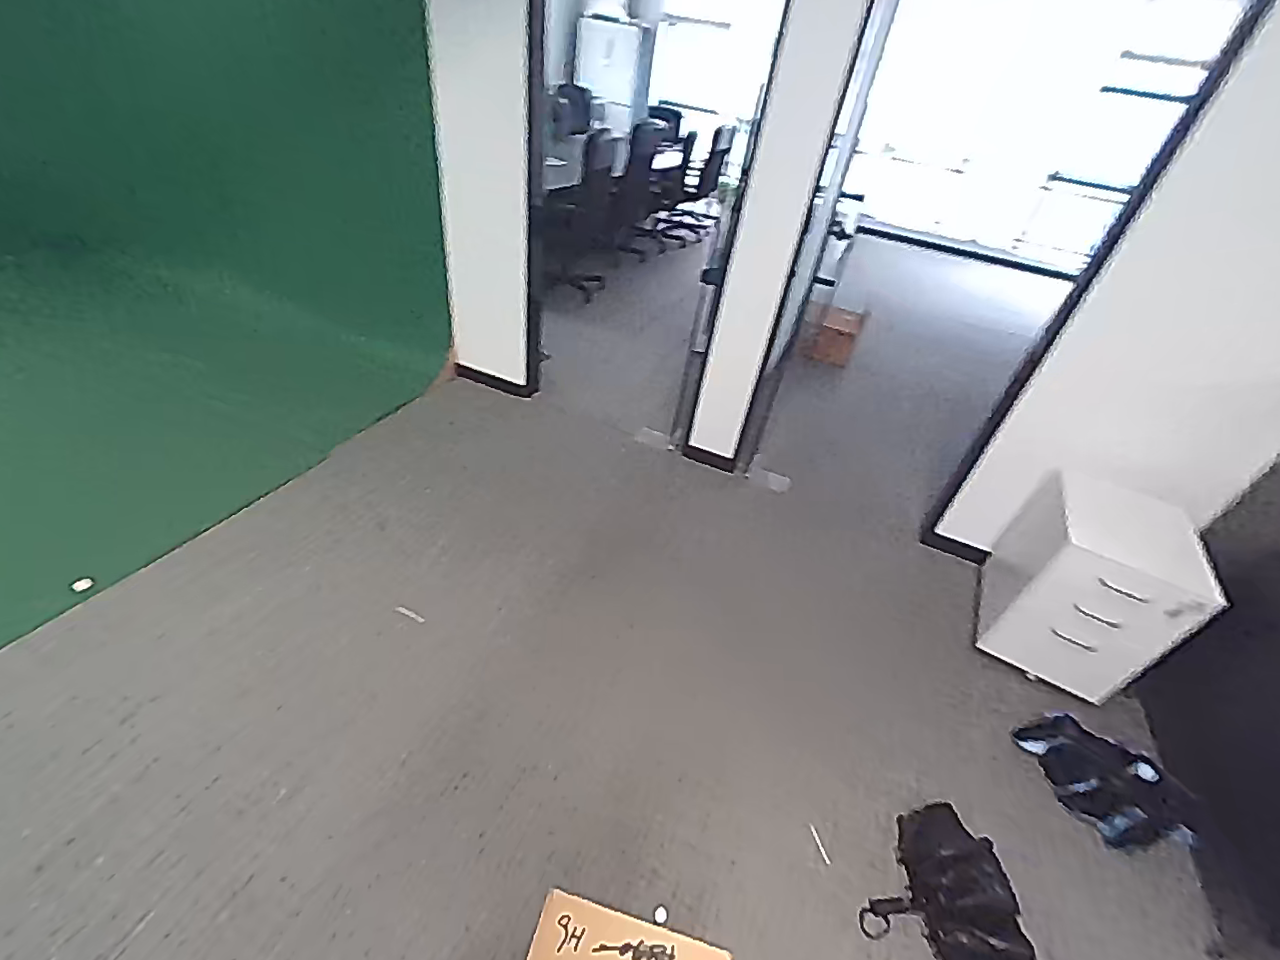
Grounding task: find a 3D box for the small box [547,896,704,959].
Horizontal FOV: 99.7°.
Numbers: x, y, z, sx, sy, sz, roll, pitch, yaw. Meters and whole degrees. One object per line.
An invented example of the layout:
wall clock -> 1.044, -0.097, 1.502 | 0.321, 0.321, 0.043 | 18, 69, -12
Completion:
small box -> -0.028, 0.601, 0.601 | 0.168, 0.176, 0.179 | 10, 47, 8
